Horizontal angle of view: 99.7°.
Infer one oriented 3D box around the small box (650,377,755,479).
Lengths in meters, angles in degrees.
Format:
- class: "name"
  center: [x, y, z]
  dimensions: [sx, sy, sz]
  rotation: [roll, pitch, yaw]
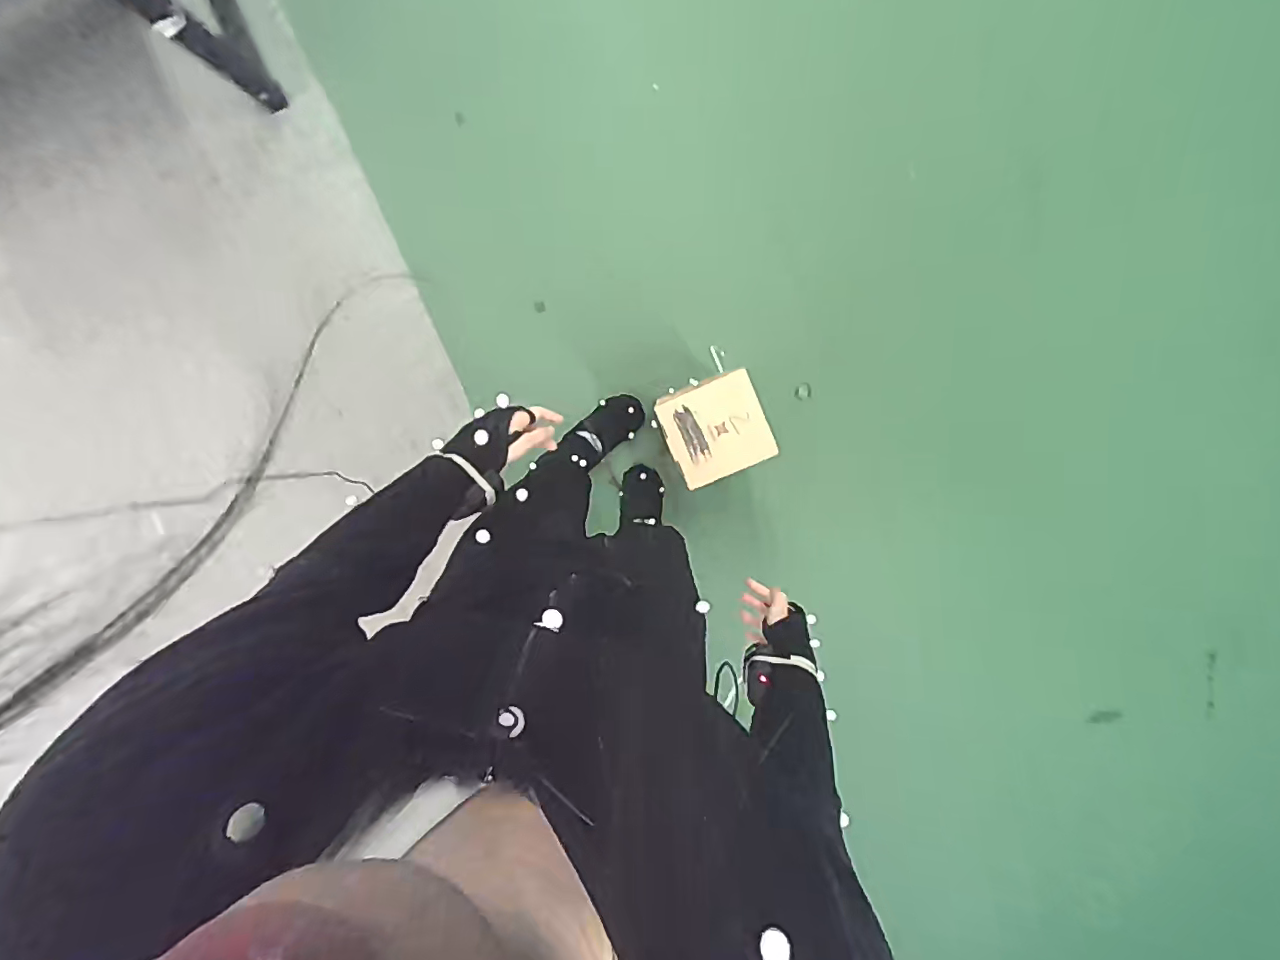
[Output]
- class: "small box"
  center: [0.130, -0.119, 1.192]
  dimensions: [0.179, 0.176, 0.168]
  rotation: [-23, 98, 4]
